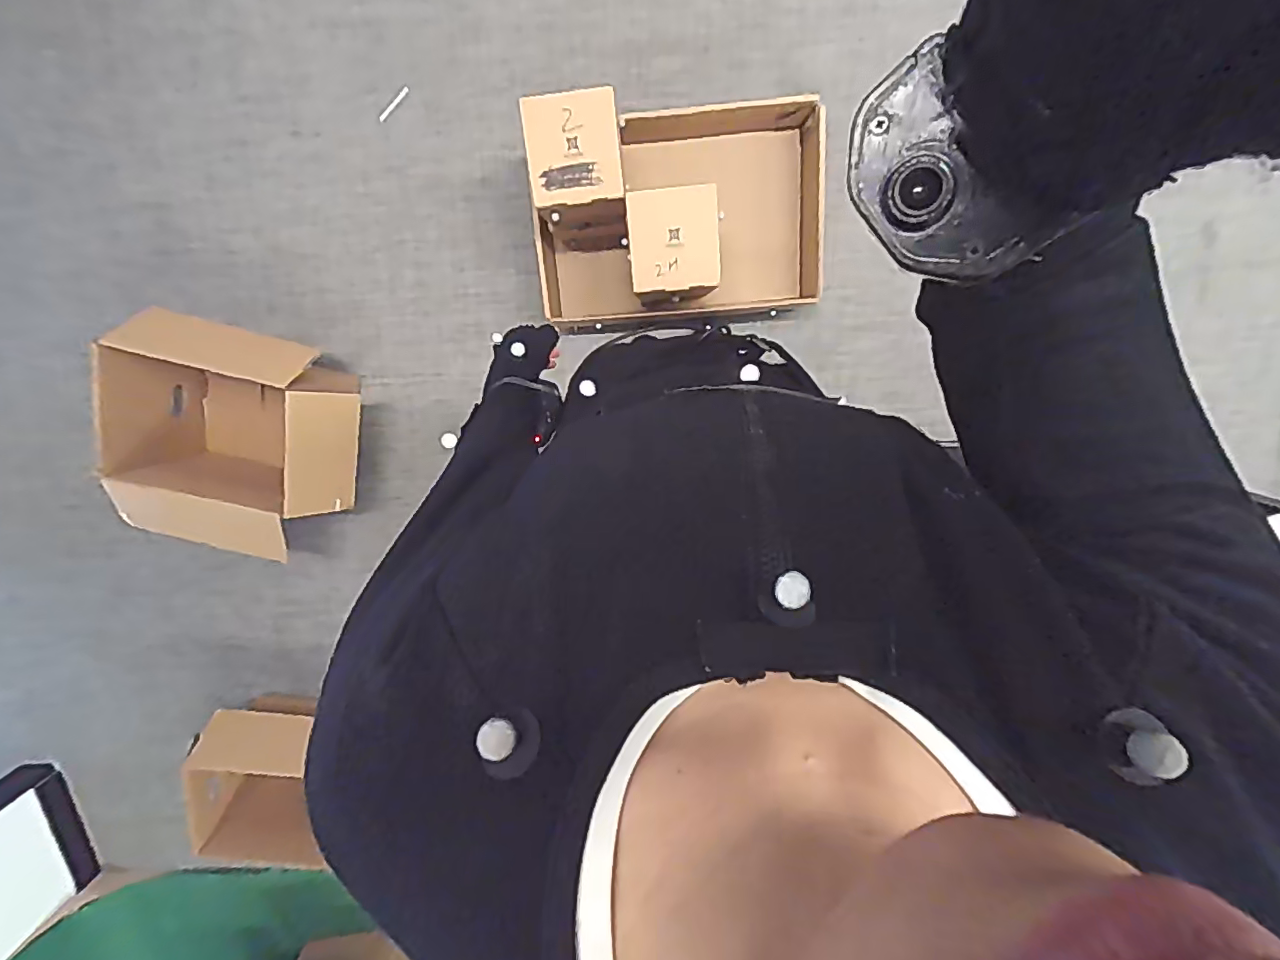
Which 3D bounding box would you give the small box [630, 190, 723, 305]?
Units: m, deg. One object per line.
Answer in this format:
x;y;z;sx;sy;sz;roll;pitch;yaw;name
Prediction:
0.069;-0.446;1.061;0.168;0.176;0.179;-4;105;3;small box
